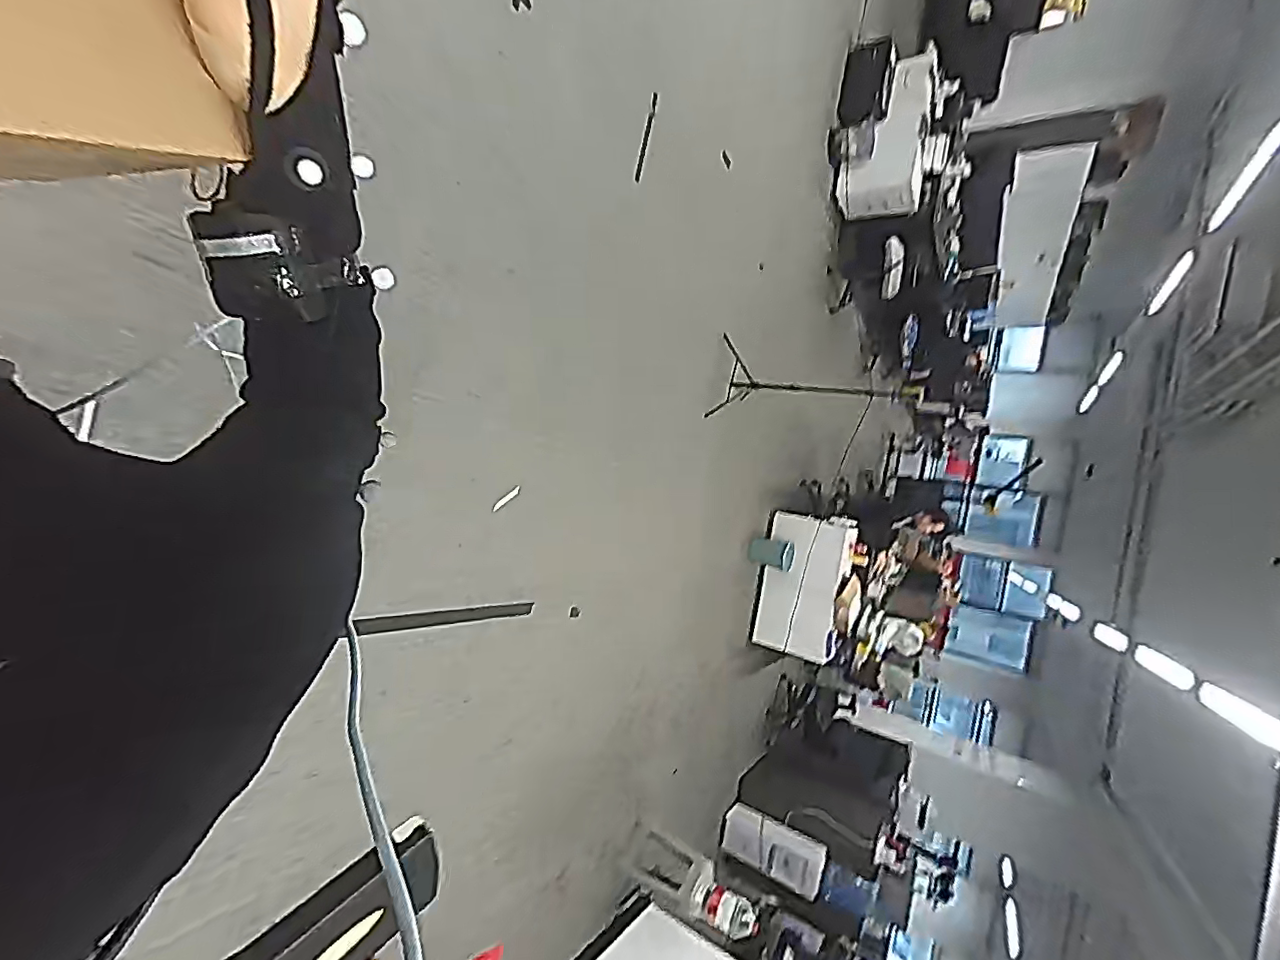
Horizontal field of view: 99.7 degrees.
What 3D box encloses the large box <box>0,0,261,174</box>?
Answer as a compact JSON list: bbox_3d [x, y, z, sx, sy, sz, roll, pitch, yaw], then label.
[{"bbox_3d":[-0.439,-0.290,0.158,0.408,0.320,0.320,-33,132,-53],"label":"large box"}]
